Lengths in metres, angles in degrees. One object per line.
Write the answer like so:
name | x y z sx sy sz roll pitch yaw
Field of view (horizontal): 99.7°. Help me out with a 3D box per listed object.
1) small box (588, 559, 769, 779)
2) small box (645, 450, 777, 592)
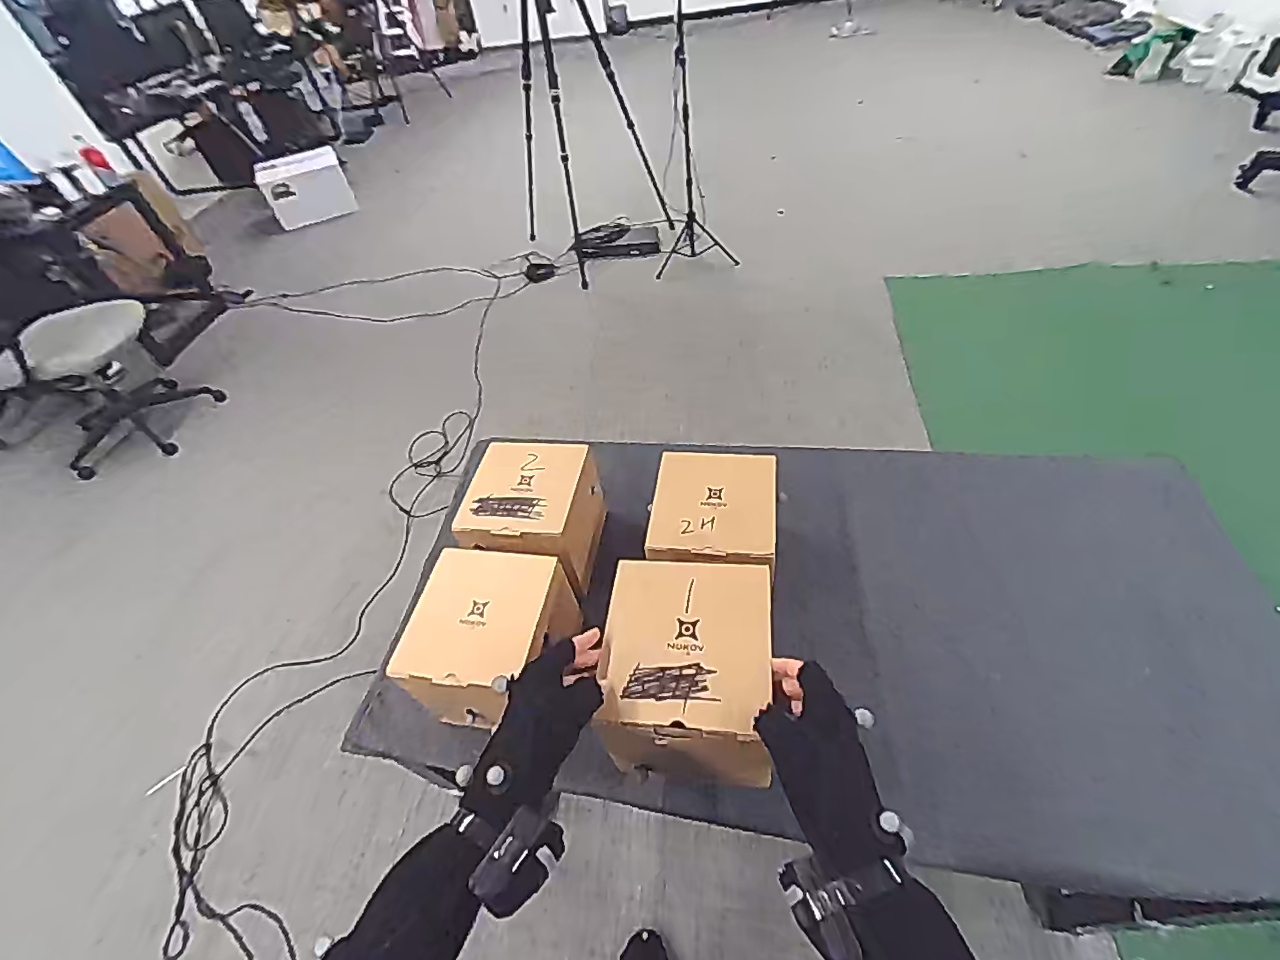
small box | 0.055 0.207 0.591 0.168 0.176 0.179 1 48 12
small box | 0.108 0.078 0.794 0.168 0.176 0.179 3 49 12
